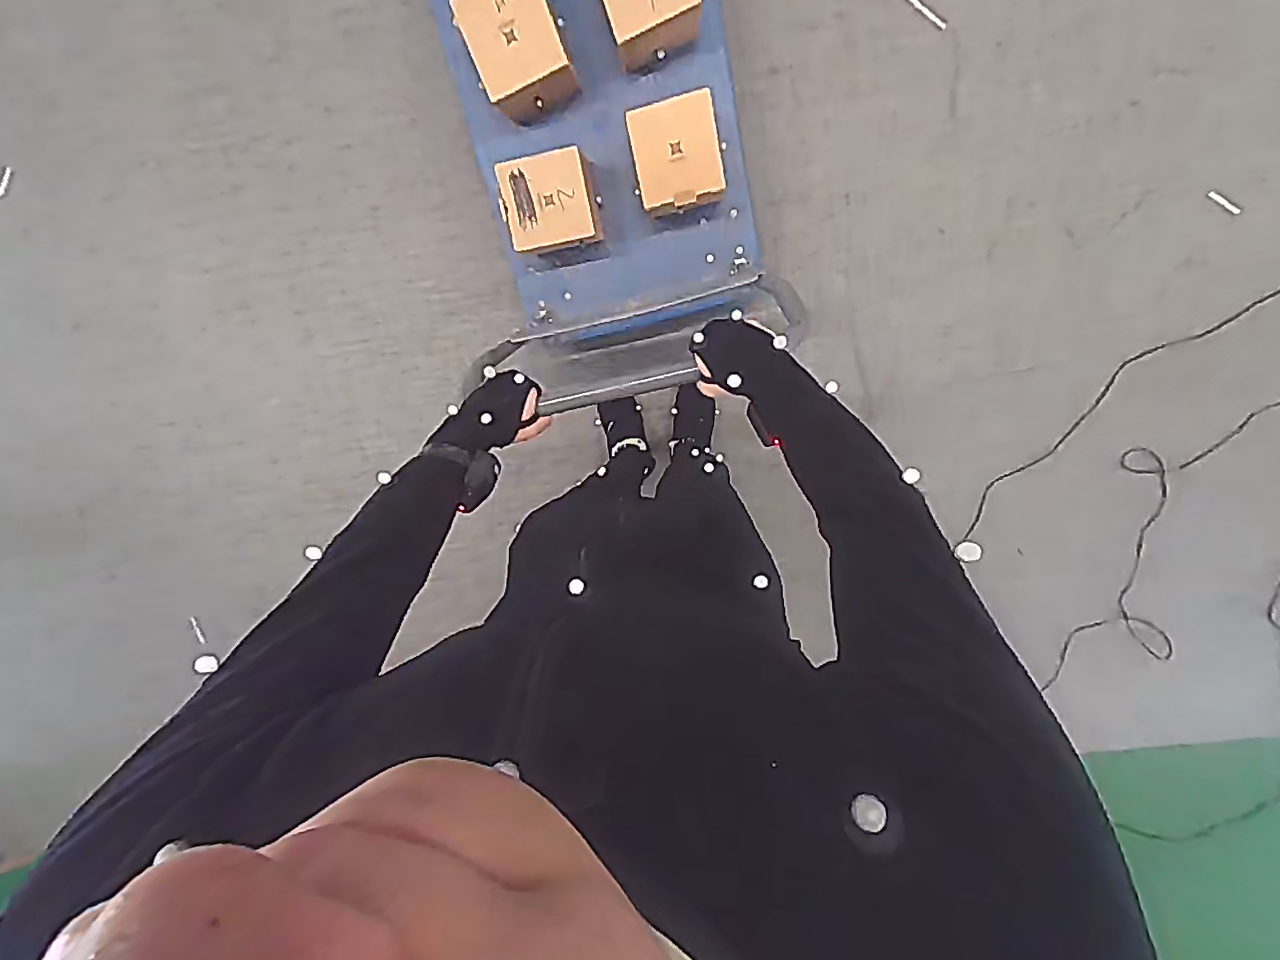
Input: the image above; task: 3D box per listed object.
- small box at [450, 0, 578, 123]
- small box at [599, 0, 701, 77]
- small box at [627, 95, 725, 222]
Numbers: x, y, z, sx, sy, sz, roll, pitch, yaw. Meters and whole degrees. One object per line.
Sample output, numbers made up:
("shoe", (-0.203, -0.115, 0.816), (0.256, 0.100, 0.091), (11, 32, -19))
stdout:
("small box", (-0.236, -0.838, 1.069), (0.168, 0.176, 0.179), (-19, 109, 10))
("small box", (0.008, -0.915, 1.023), (0.168, 0.176, 0.179), (-18, 110, 11))
("small box", (0.075, -0.654, 1.122), (0.168, 0.176, 0.179), (-12, 110, 8))
